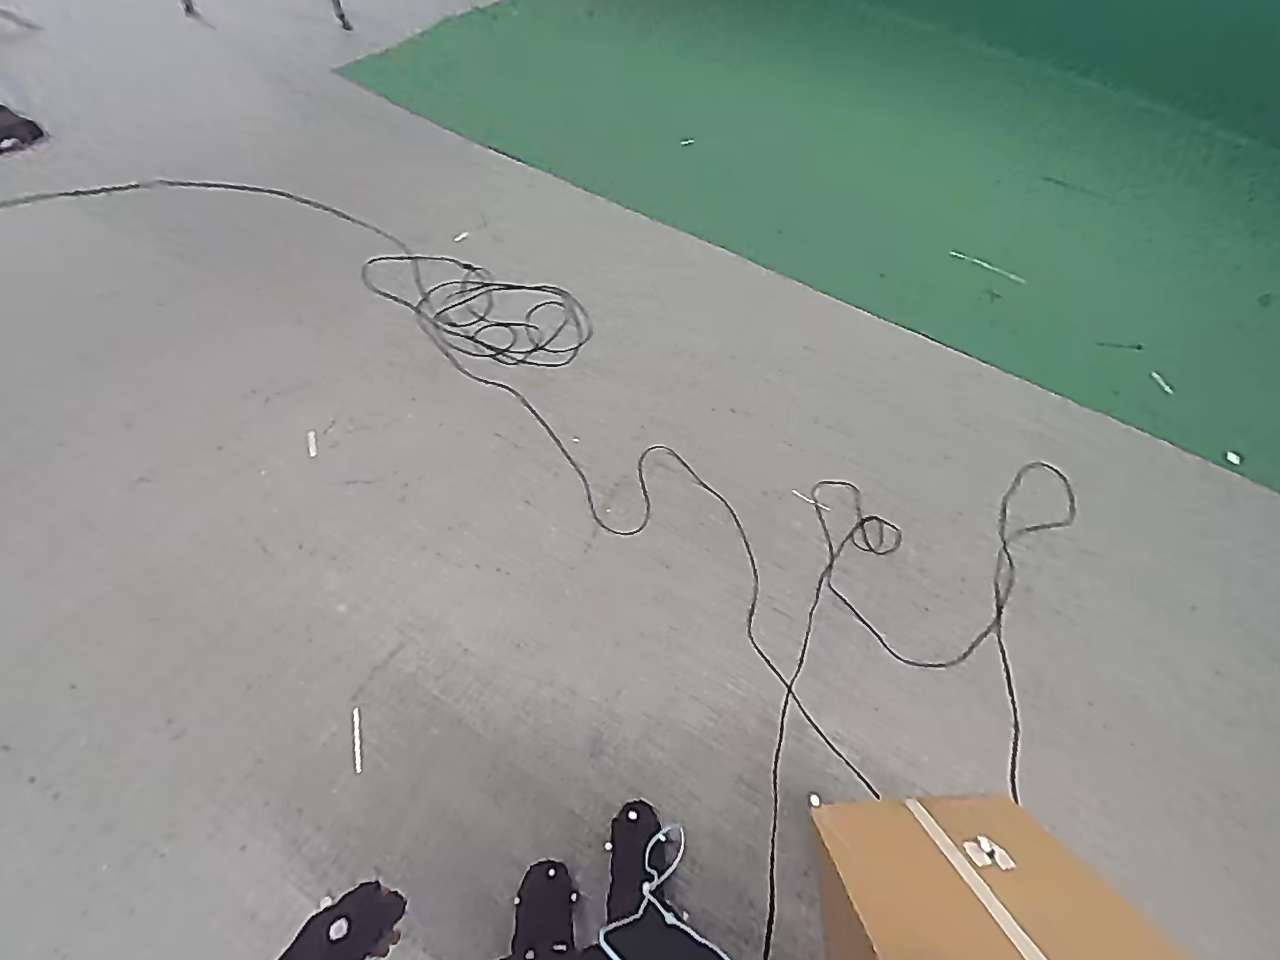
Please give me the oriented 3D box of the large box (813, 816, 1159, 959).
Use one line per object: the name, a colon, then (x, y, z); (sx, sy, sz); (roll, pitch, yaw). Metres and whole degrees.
large box: (0.431, 0.687, 0.657); (0.320, 0.408, 0.320); (-3, 88, 2)
